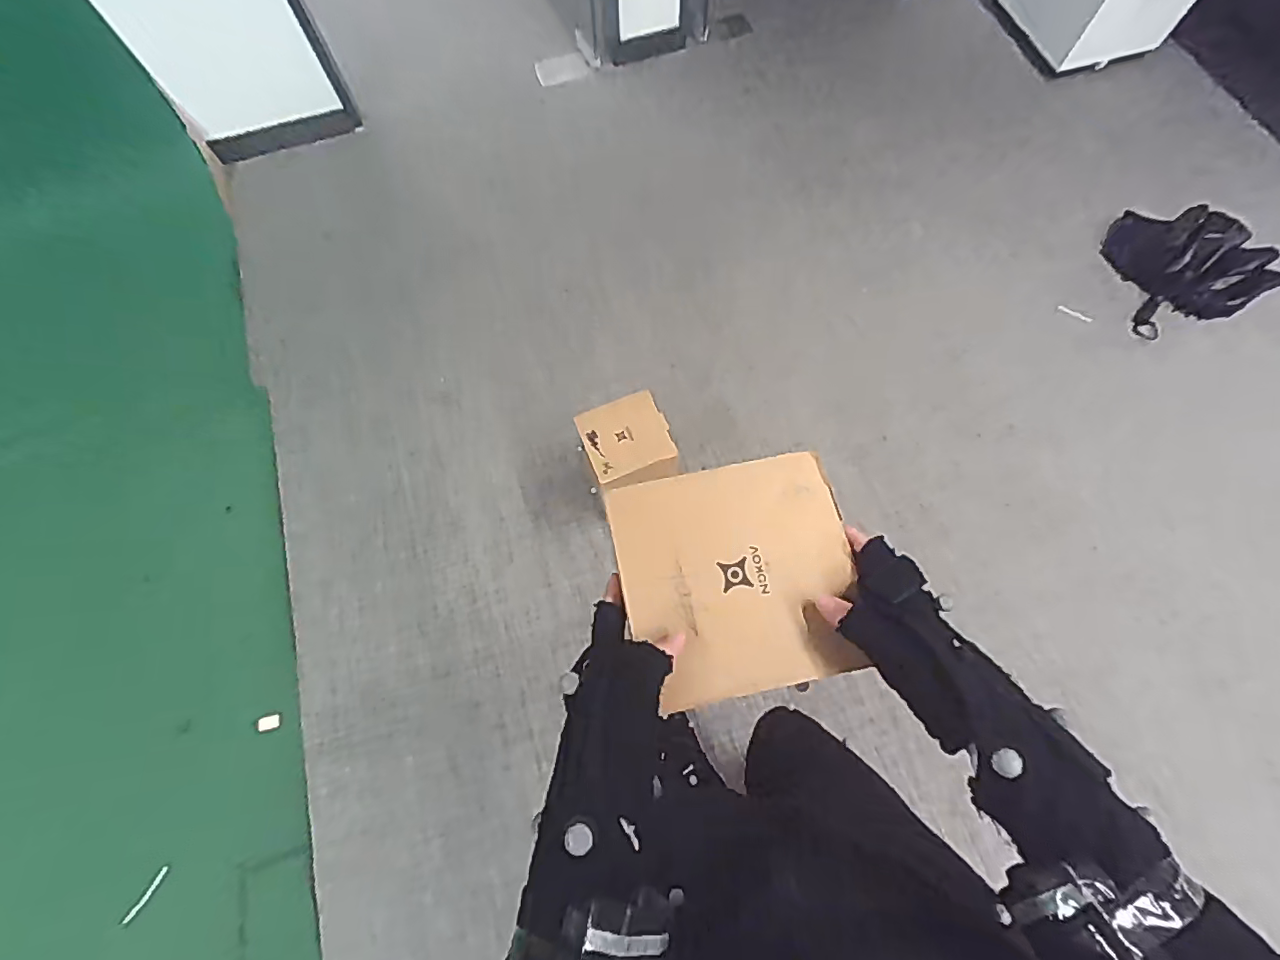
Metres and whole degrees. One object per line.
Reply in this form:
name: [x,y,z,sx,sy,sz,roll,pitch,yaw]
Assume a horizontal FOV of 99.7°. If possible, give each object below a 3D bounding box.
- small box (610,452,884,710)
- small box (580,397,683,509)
small box: [0.075,0.092,0.480,0.179,0.176,0.168,-12,72,-3]
small box: [-0.020,-0.054,1.197,0.179,0.176,0.168,-20,71,-6]
